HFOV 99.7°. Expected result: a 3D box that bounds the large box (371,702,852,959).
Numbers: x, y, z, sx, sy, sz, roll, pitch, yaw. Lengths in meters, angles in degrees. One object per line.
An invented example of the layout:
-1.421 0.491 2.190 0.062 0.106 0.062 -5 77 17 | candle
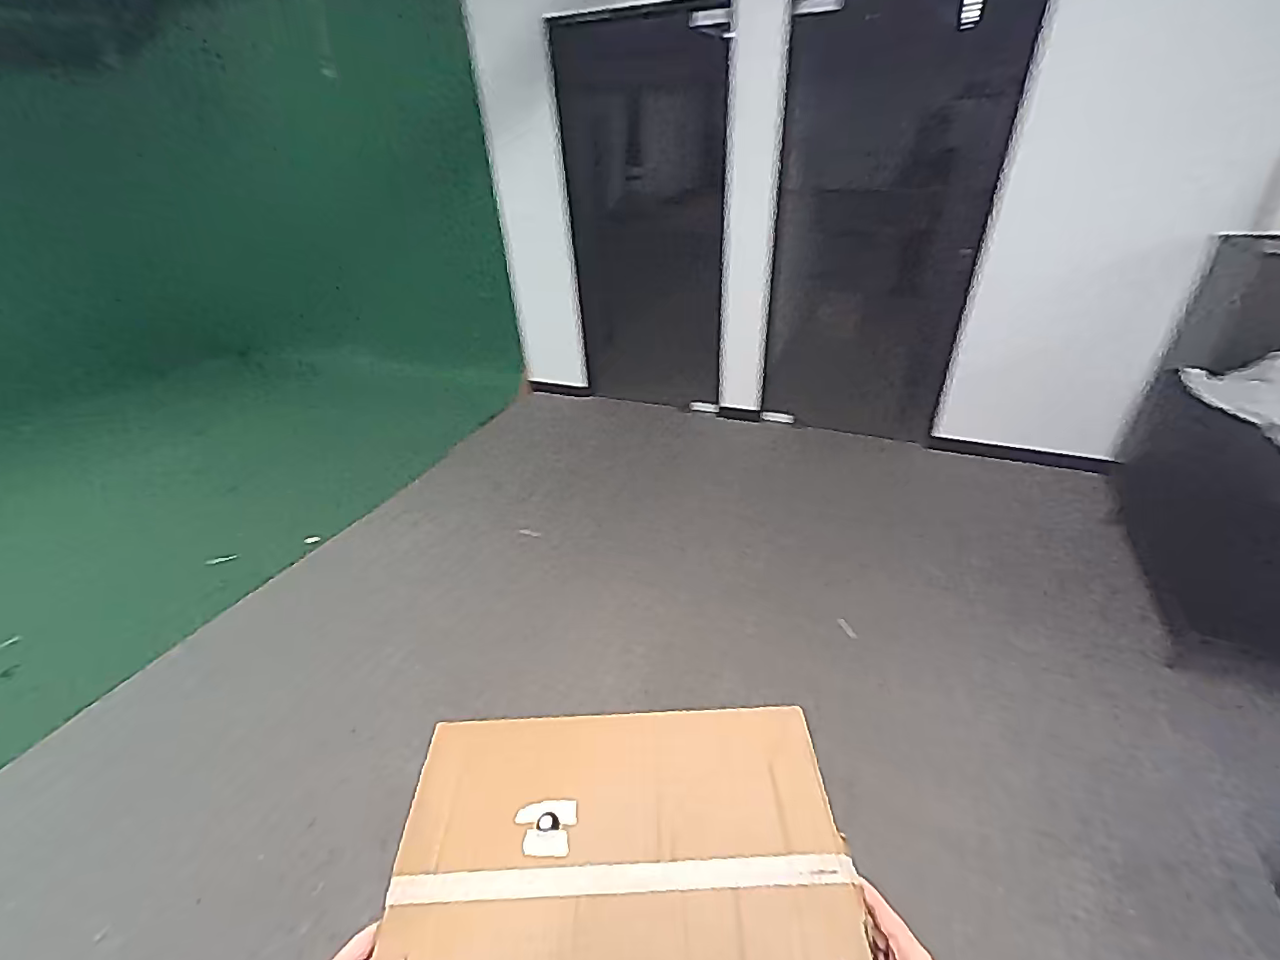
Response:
-0.018 0.478 0.578 0.408 0.320 0.320 -5 37 1 | large box
